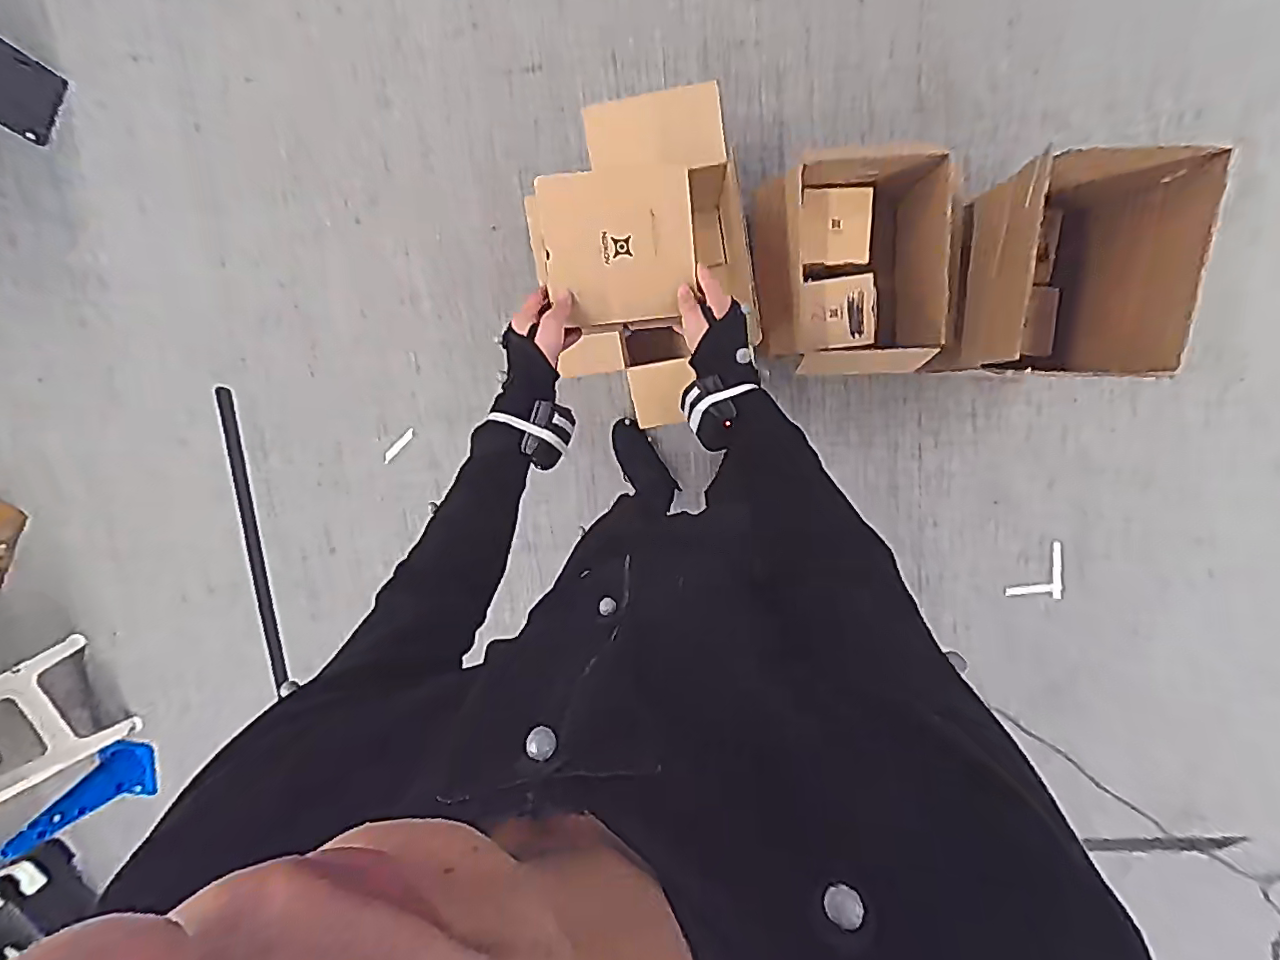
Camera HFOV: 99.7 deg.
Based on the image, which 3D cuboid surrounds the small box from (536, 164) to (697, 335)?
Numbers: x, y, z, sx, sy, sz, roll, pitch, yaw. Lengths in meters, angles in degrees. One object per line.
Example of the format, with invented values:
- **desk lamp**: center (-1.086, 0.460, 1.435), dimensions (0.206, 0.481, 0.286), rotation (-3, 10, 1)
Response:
- **small box**: center (-0.022, -0.282, 0.699), dimensions (0.179, 0.176, 0.168), rotation (-5, 102, 3)
